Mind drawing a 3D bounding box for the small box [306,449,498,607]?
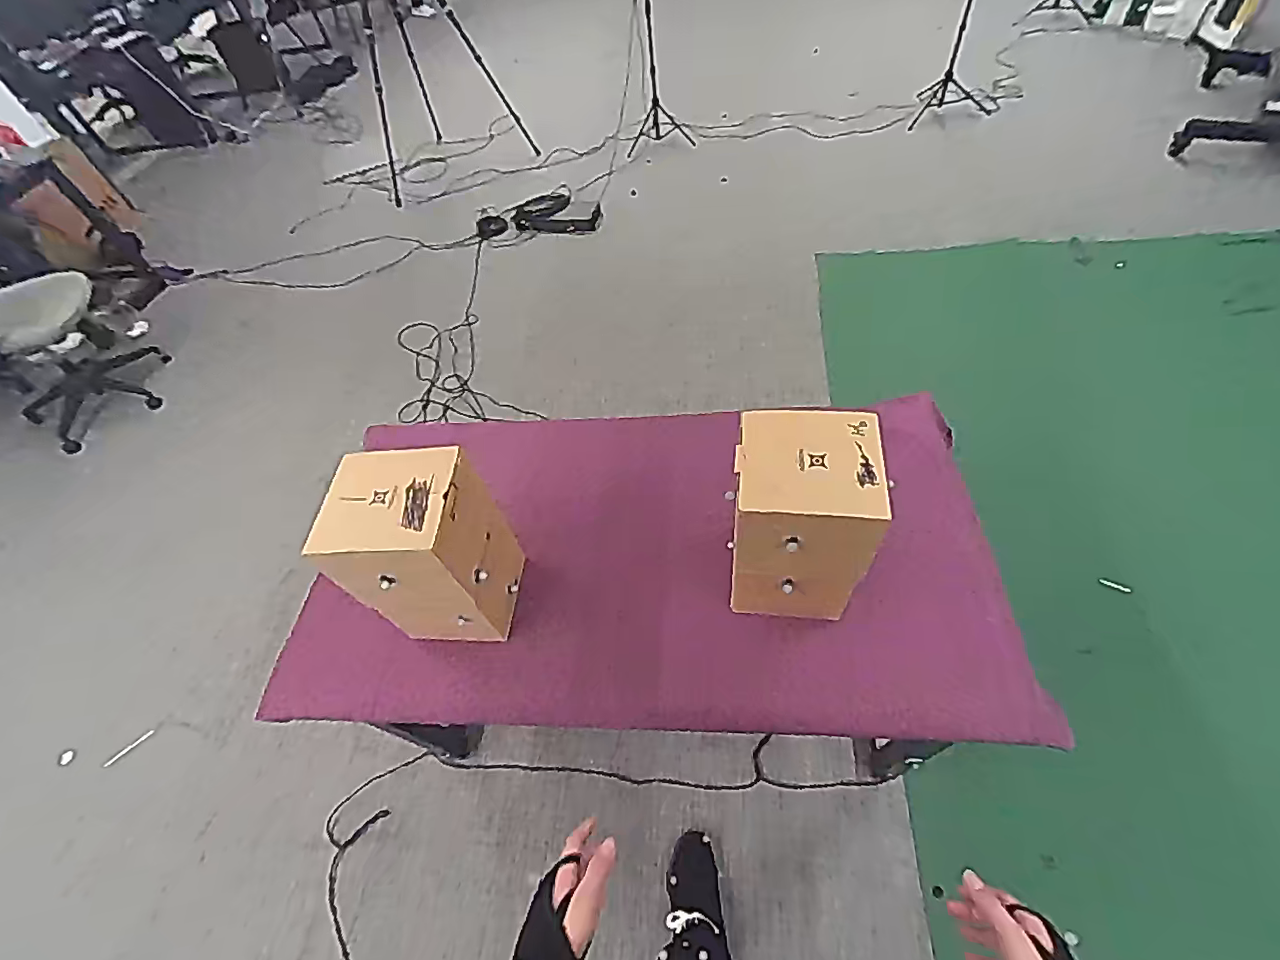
[{"bbox_3d":[-0.318,0.072,0.770,0.179,0.176,0.168,-2,53,5],"label":"small box"}]

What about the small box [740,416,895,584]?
[{"bbox_3d":[0.228,0.030,0.736,0.179,0.176,0.168,3,55,11],"label":"small box"}]

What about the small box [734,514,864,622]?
[{"bbox_3d":[0.247,0.118,0.873,0.179,0.176,0.168,3,54,11],"label":"small box"}]
